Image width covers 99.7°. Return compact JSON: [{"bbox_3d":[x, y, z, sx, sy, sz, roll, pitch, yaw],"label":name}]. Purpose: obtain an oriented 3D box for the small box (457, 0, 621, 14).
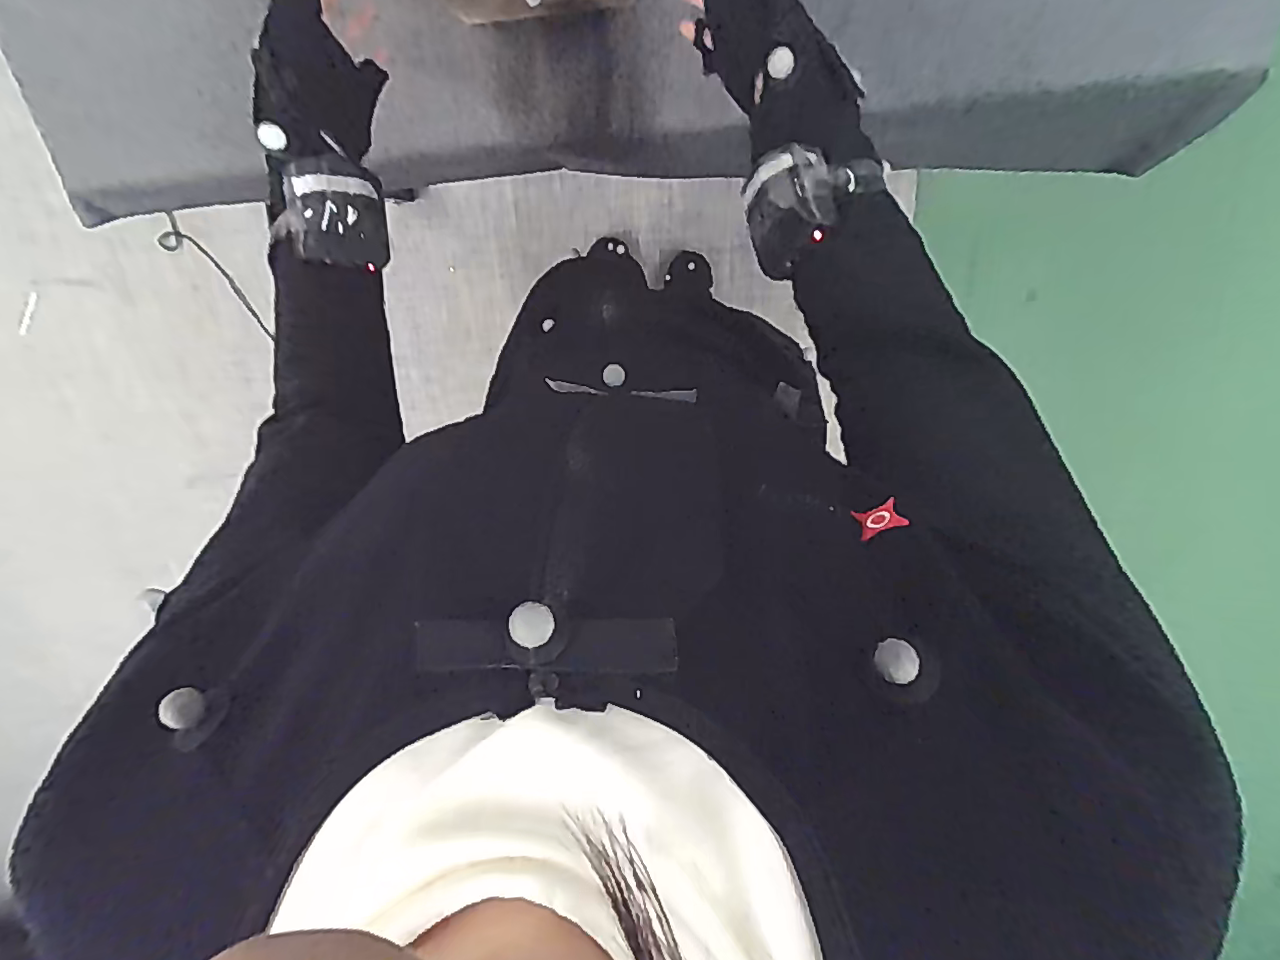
[{"bbox_3d":[-0.095,-0.483,0.403,0.168,0.176,0.179,-2,115,5],"label":"small box"}]
